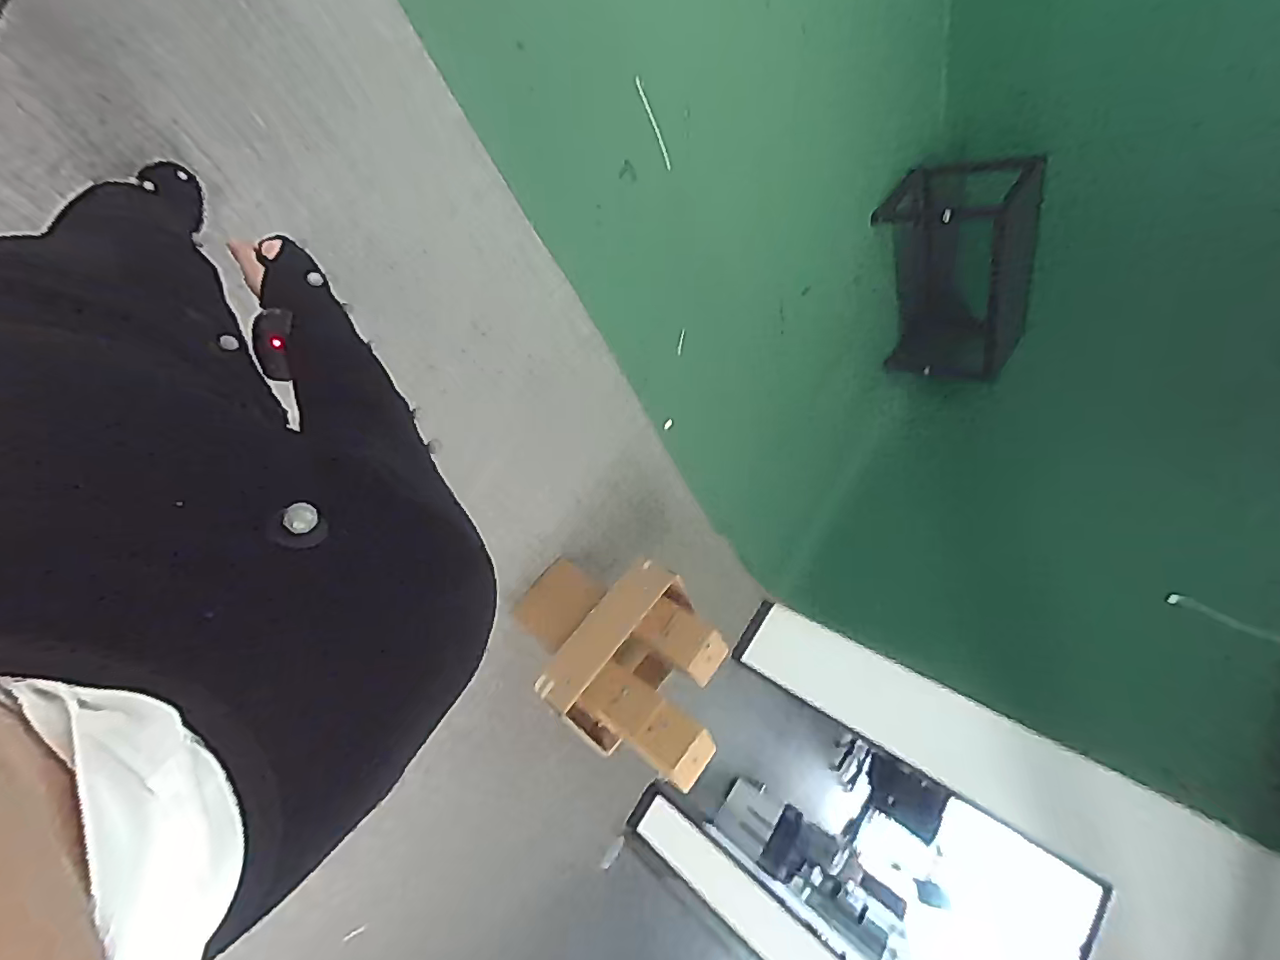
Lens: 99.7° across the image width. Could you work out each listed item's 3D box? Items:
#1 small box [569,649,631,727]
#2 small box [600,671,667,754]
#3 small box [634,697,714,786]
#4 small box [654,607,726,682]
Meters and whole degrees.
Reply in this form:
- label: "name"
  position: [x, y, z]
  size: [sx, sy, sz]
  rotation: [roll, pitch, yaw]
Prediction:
- label: "small box"
  position: [-0.122, 0.741, 1.941]
  size: [0.168, 0.176, 0.179]
  rotation: [-45, 134, -25]
- label: "small box"
  position: [-0.004, 0.783, 1.837]
  size: [0.168, 0.176, 0.179]
  rotation: [-45, 134, -25]
- label: "small box"
  position: [0.110, 0.832, 1.733]
  size: [0.168, 0.176, 0.179]
  rotation: [-45, 134, -25]
- label: "small box"
  position: [0.180, 0.588, 1.949]
  size: [0.168, 0.176, 0.179]
  rotation: [-50, 137, -21]
